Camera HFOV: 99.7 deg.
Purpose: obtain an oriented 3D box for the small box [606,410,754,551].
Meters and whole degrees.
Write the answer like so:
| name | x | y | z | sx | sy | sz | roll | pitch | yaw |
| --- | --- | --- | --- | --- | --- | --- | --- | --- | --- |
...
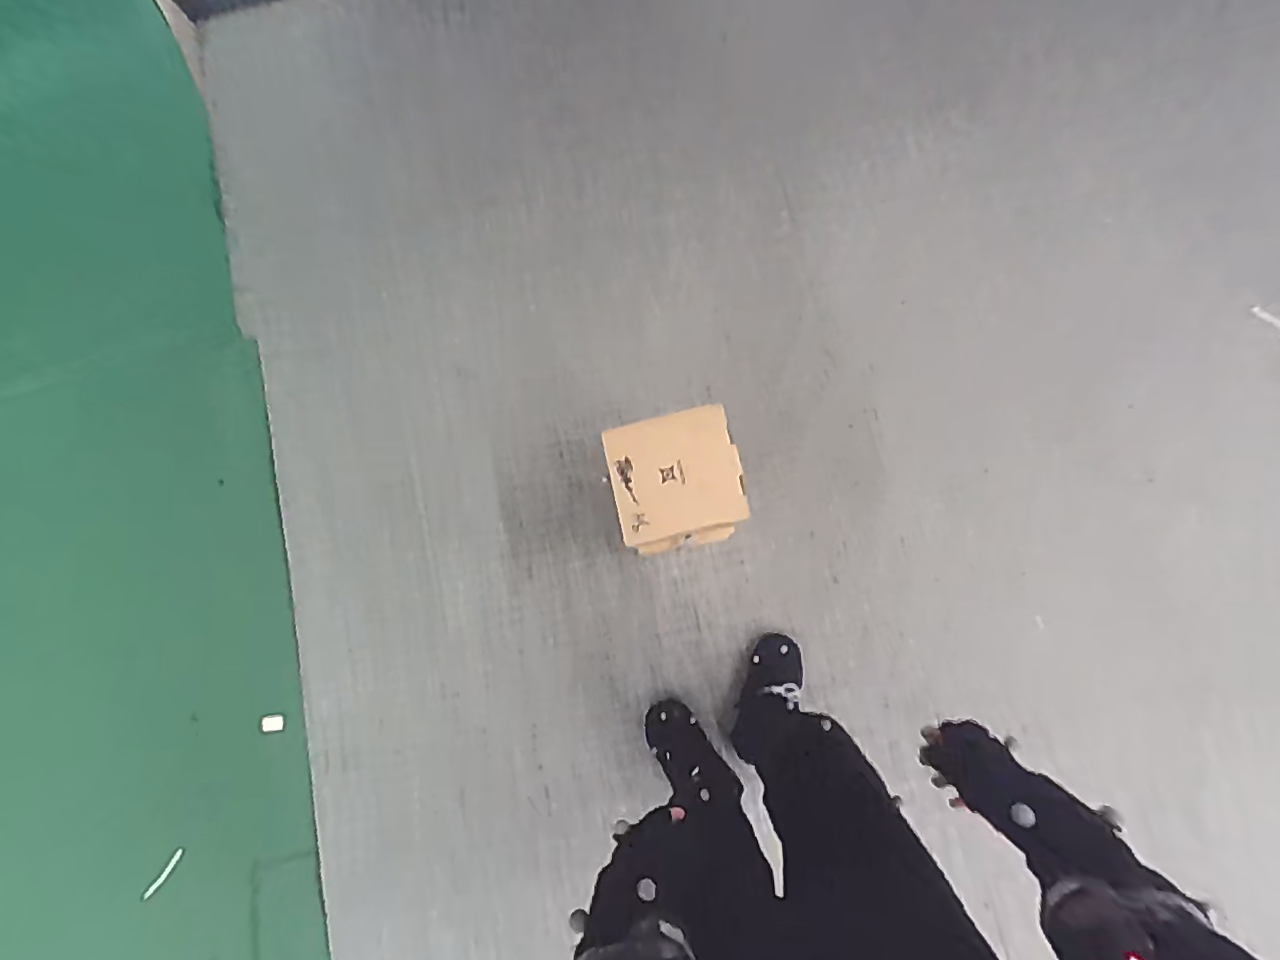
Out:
| name | x | y | z | sx | sy | sz | roll | pitch | yaw |
| --- | --- | --- | --- | --- | --- | --- | --- | --- | --- |
| small box | 0.058 | 0.009 | 0.814 | 0.179 | 0.176 | 0.168 | -13 | 81 | 3 |

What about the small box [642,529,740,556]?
| name | x | y | z | sx | sy | sz | roll | pitch | yaw |
| --- | --- | --- | --- | --- | --- | --- | --- | --- | --- |
| small box | 0.073 | 0.035 | 0.975 | 0.168 | 0.176 | 0.179 | -14 | 83 | 4 |
